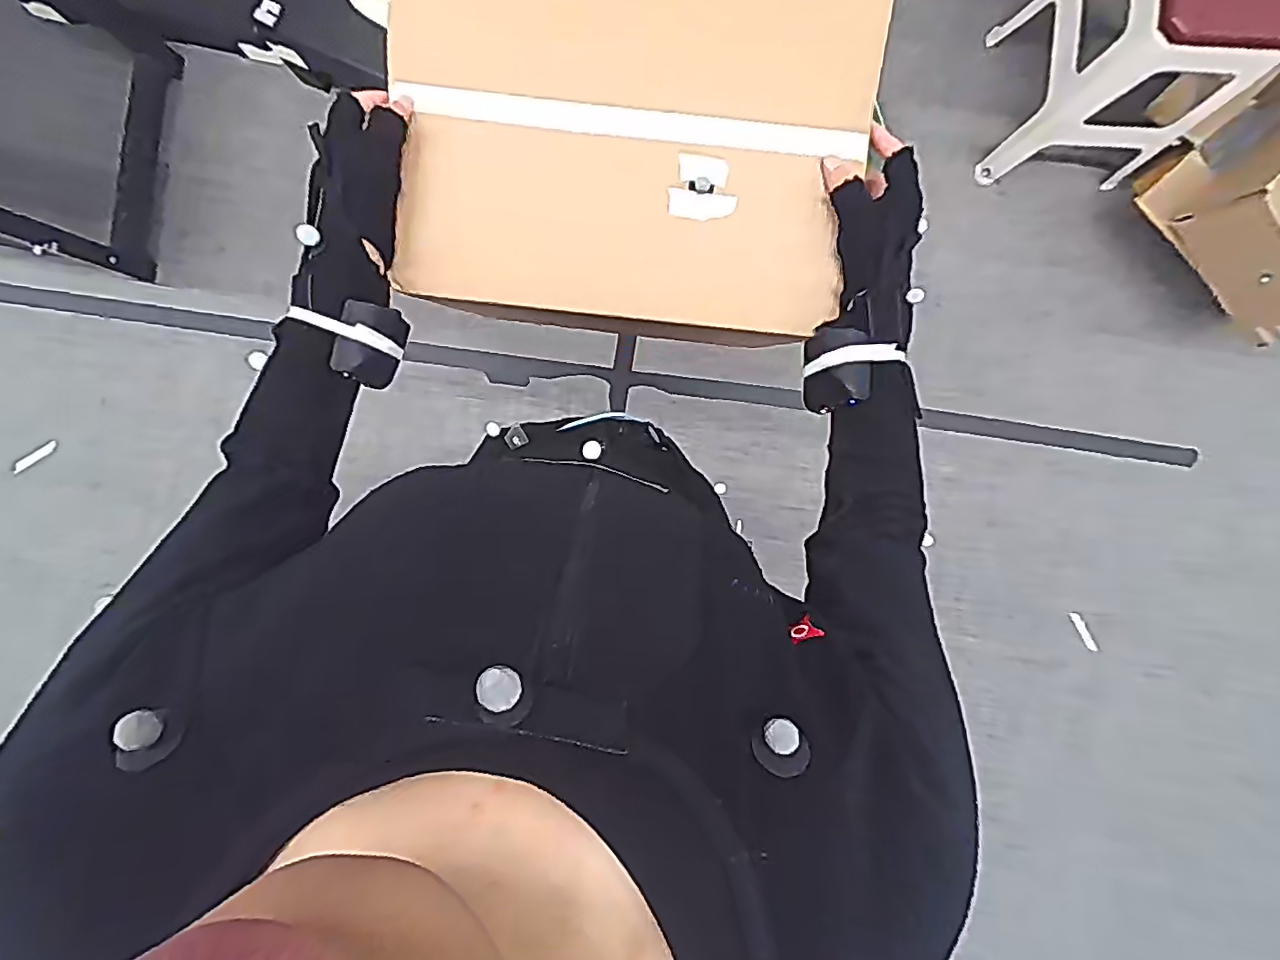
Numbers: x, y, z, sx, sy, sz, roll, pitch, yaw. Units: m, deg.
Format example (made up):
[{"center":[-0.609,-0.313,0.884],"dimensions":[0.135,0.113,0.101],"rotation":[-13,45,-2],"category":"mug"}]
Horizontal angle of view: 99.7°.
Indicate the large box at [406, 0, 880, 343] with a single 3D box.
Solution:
[{"center":[-0.009,-0.337,0.620],"dimensions":[0.408,0.320,0.320],"rotation":[6,103,-2],"category":"large box"}]
